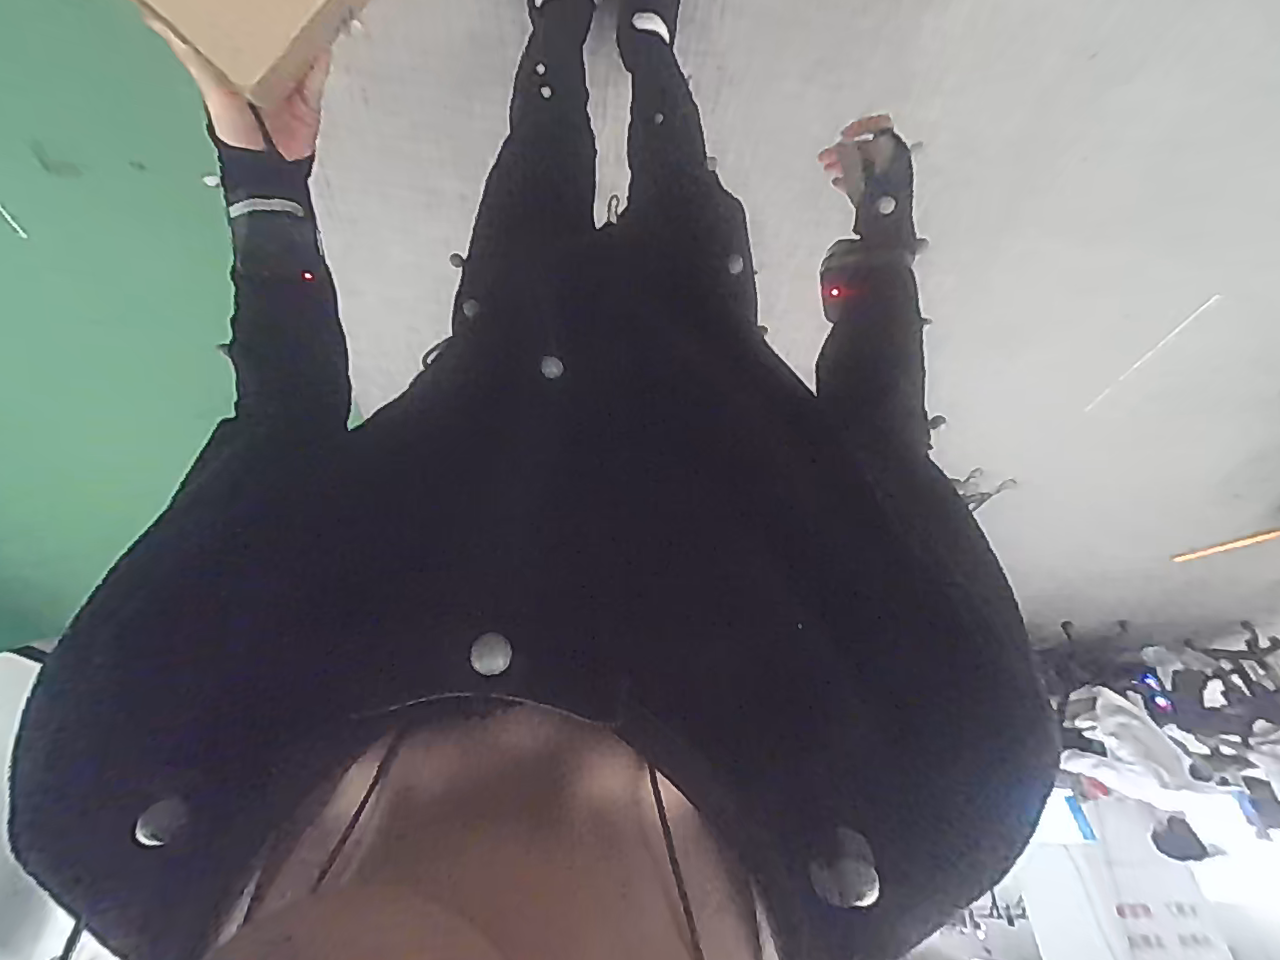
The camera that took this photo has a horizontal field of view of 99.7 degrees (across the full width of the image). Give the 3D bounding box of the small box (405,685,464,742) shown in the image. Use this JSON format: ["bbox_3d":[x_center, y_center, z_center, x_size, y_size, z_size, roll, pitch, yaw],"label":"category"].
[{"bbox_3d":[-0.793,0.910,2.103,0.168,0.176,0.179,1,143,-5],"label":"small box"}]

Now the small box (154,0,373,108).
[{"bbox_3d":[-0.250,-0.367,0.319,0.176,0.168,0.179,-47,130,2],"label":"small box"}]
